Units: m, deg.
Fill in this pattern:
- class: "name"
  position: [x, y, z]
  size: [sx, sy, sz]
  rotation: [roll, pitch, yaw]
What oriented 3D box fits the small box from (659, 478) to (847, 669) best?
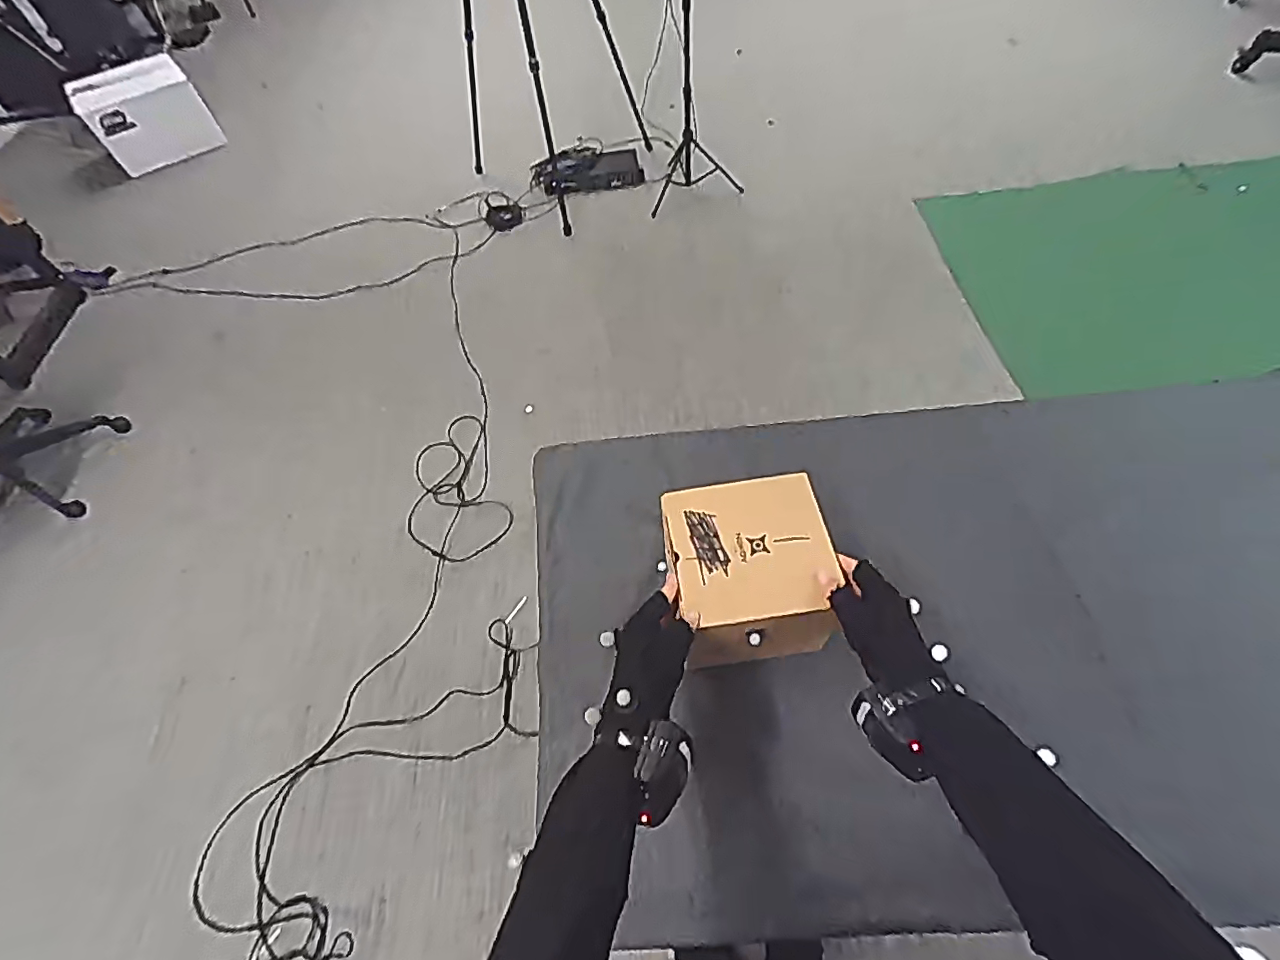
- class: "small box"
  position: [0.124, 0.120, 0.658]
  size: [0.179, 0.176, 0.168]
  rotation: [-8, 57, -1]
